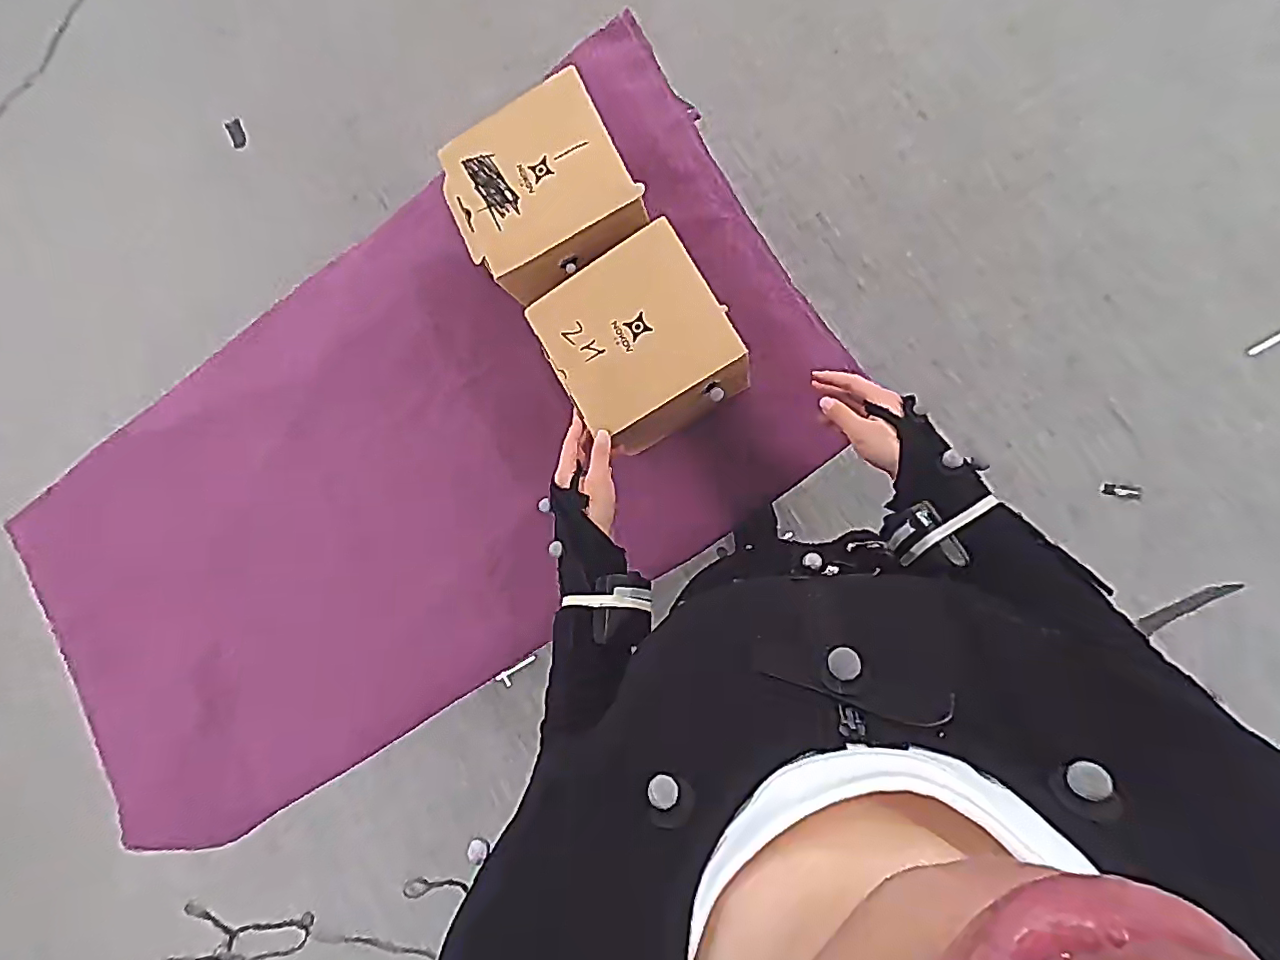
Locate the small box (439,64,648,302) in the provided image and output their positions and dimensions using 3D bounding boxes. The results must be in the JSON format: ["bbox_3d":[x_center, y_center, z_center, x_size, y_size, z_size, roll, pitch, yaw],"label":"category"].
[{"bbox_3d":[-0.096,-0.323,0.647,0.179,0.176,0.168,-26,85,9],"label":"small box"}]

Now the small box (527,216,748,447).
[{"bbox_3d":[0.008,-0.151,0.619,0.179,0.176,0.168,-30,82,10],"label":"small box"}]
